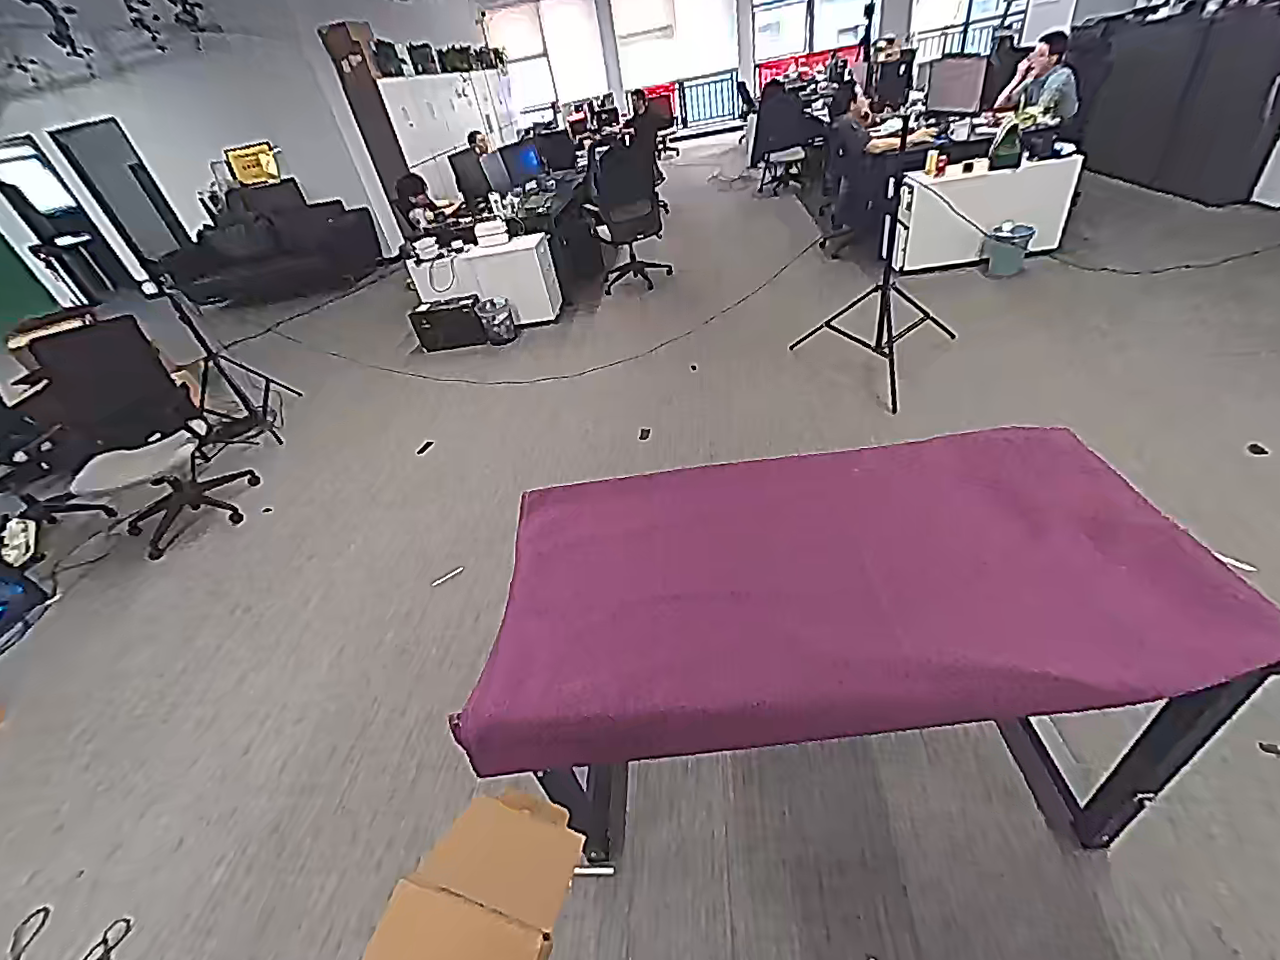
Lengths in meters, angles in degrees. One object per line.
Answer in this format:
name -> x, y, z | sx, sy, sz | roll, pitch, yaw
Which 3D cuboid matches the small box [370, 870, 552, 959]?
small box -> -0.205, 0.564, 0.584 | 0.168, 0.176, 0.179 | 17, 48, 9
